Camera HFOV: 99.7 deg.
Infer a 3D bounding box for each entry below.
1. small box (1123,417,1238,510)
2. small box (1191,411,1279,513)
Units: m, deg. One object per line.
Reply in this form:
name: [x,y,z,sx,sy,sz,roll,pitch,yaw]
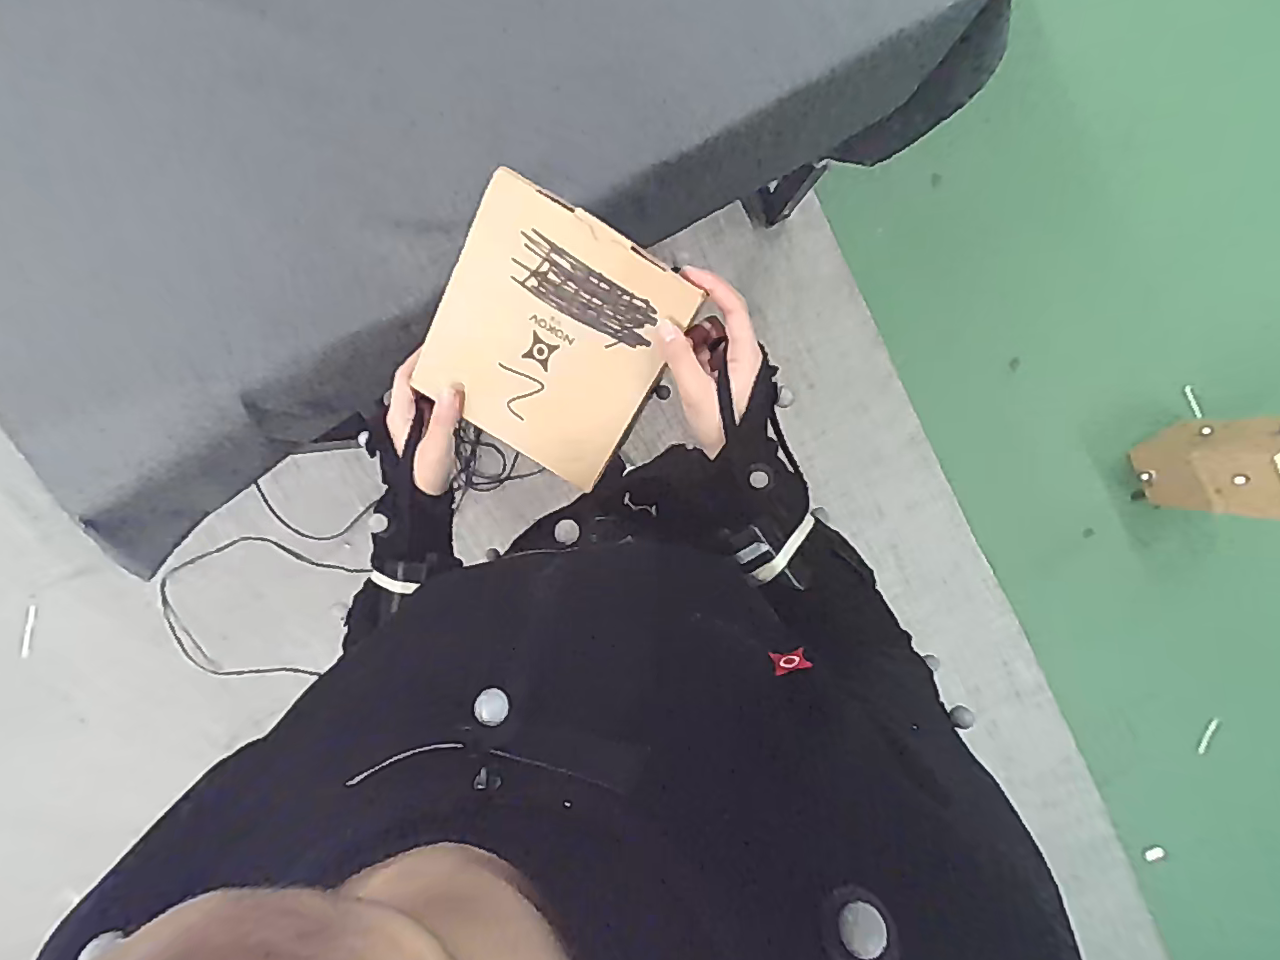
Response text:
small box: [1.372,-0.049,1.340,0.179,0.176,0.168,-29,96,1]
small box: [1.371,-0.038,1.177,0.179,0.176,0.168,-30,96,0]
